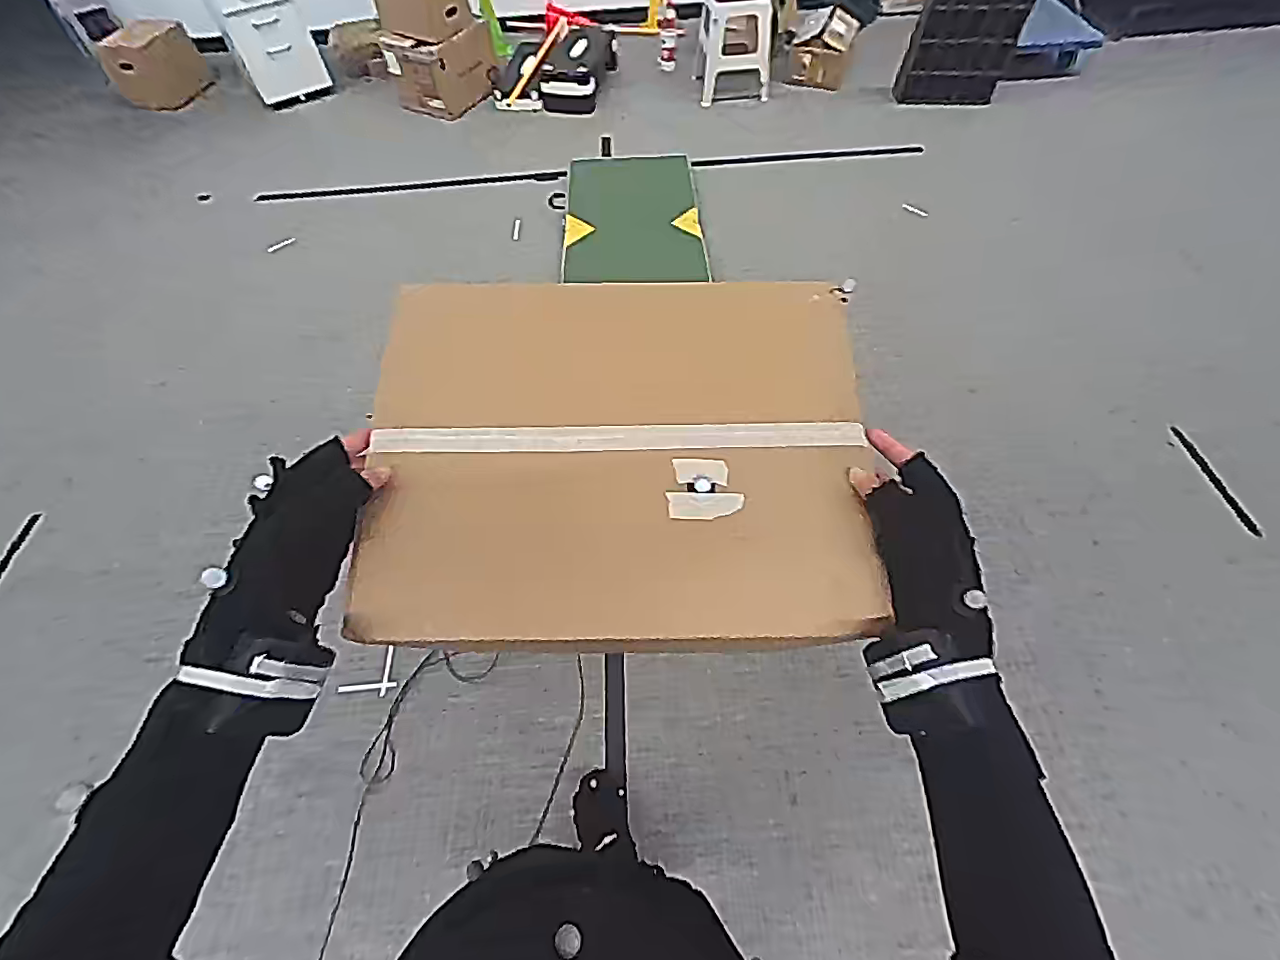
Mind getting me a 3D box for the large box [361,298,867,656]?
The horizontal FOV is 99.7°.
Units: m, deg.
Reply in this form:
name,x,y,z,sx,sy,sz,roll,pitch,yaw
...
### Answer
name,x,y,z,sx,sy,sz,roll,pitch,yaw
large box,-0.027,0.023,0.609,0.408,0.320,0.320,-1,71,-1
